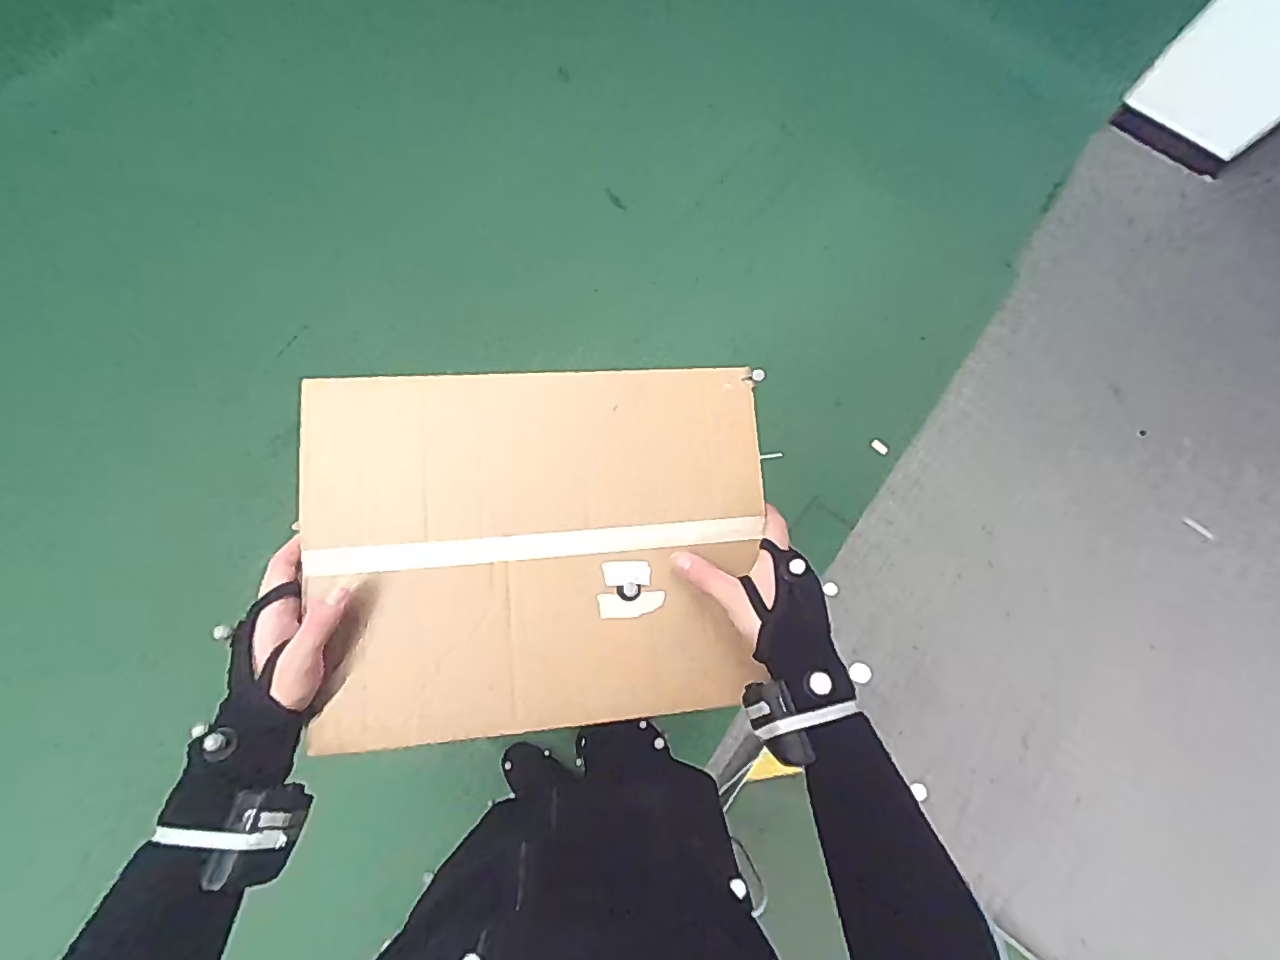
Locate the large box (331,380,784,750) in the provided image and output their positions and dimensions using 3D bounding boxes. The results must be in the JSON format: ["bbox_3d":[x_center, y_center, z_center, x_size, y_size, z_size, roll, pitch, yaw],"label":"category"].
[{"bbox_3d":[-0.095,0.082,0.641,0.408,0.320,0.320,-3,83,-10],"label":"large box"}]
